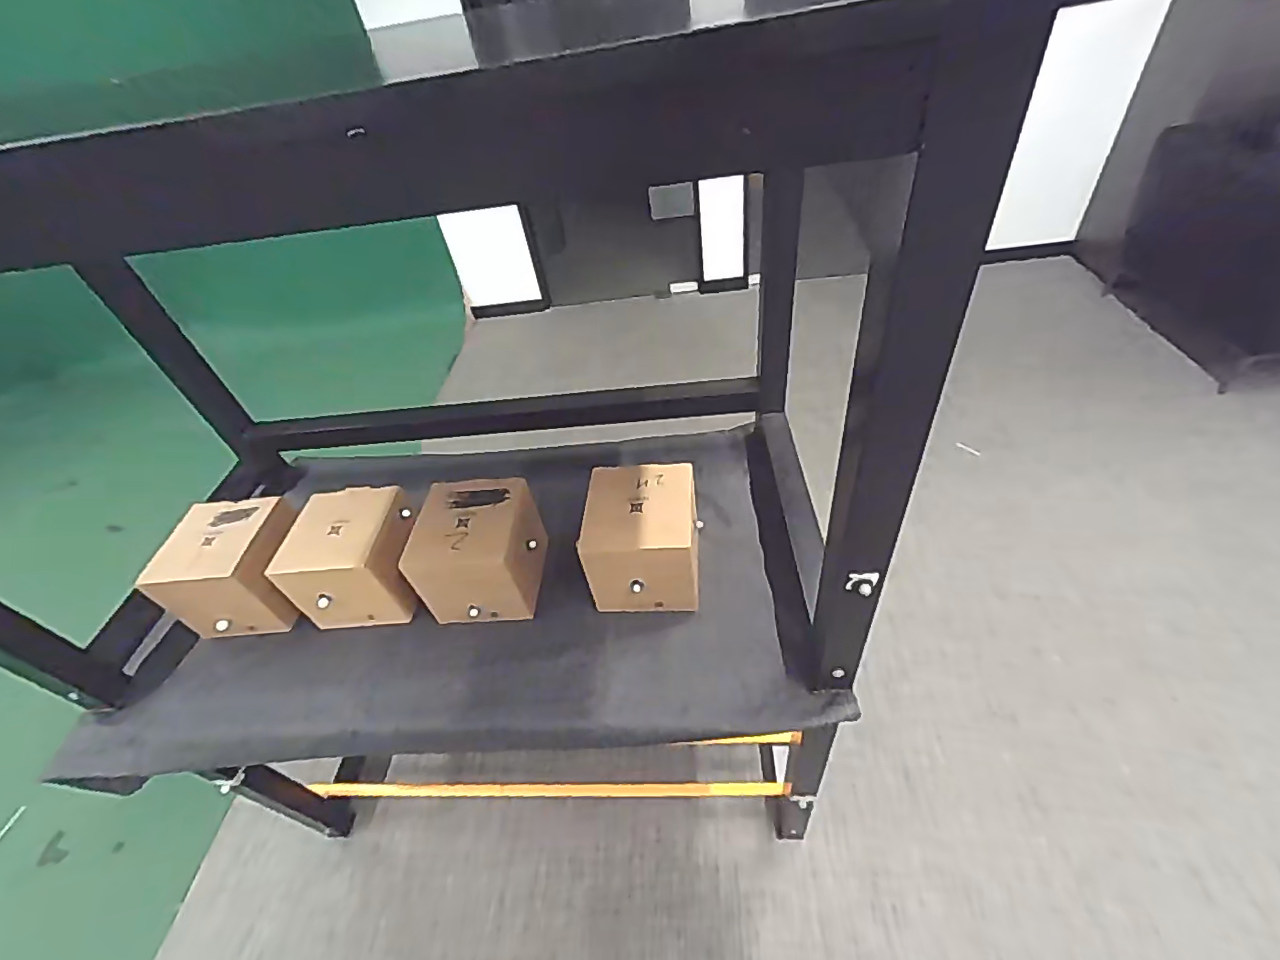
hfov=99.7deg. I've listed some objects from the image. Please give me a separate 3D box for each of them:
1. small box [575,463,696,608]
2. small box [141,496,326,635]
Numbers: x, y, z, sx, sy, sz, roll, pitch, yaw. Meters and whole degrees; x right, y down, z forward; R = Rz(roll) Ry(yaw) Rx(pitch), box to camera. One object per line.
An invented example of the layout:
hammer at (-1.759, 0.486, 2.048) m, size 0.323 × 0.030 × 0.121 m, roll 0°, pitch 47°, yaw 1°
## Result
small box at (0.004, 0.093, 0.881) m, size 0.168 × 0.176 × 0.179 m, roll -2°, pitch 44°, yaw 8°
small box at (-0.698, 0.152, 0.960) m, size 0.168 × 0.176 × 0.179 m, roll -6°, pitch 44°, yaw 5°
